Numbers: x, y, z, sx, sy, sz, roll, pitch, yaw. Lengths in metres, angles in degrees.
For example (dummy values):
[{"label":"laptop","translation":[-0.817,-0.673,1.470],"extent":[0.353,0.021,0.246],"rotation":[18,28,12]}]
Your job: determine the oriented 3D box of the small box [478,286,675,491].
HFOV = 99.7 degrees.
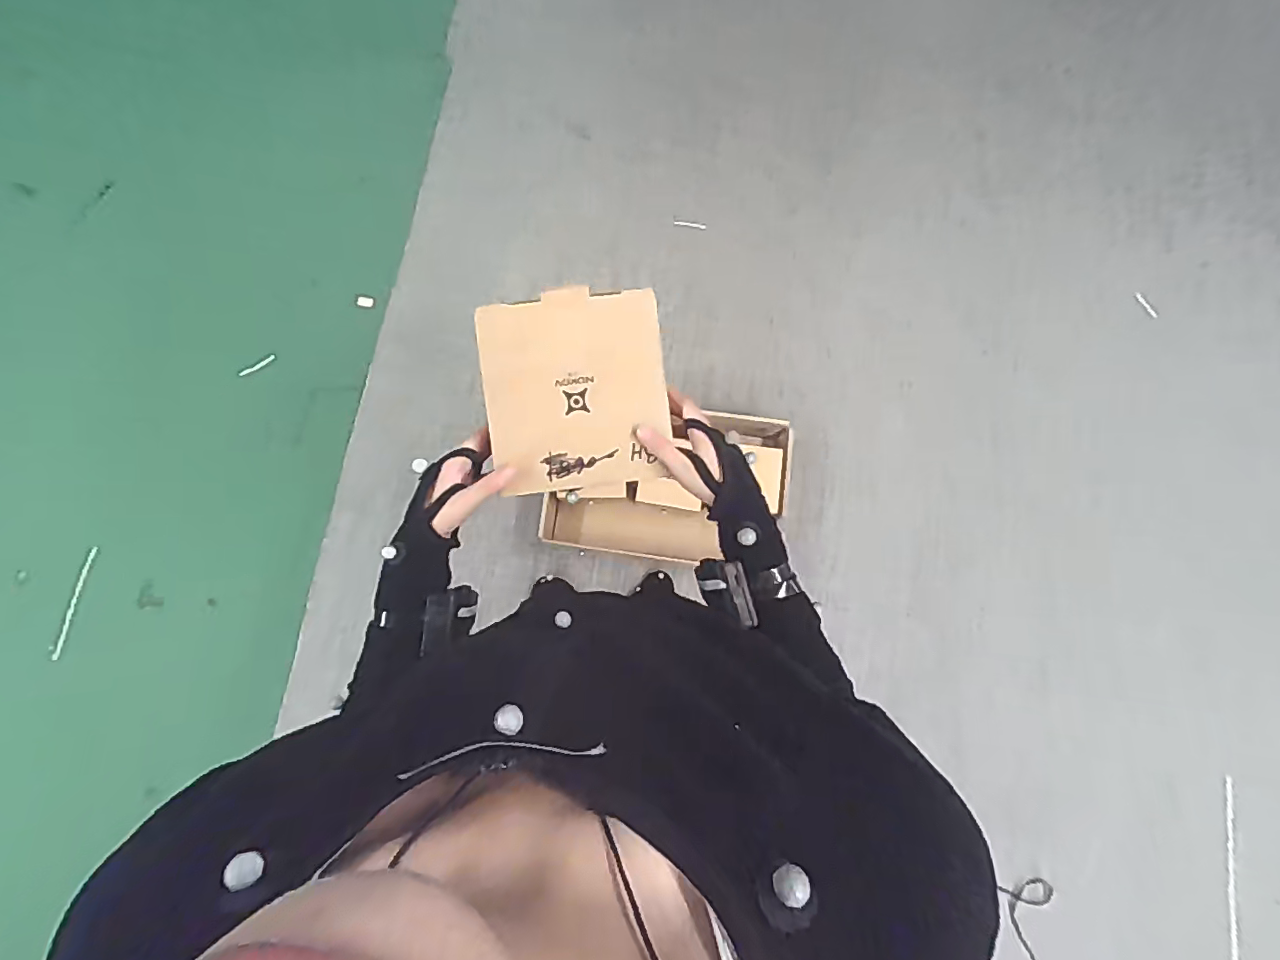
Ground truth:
[{"label":"small box","translation":[-0.062,-0.084,0.570],"extent":[0.168,0.176,0.179],"rotation":[-7,92,-3]}]
